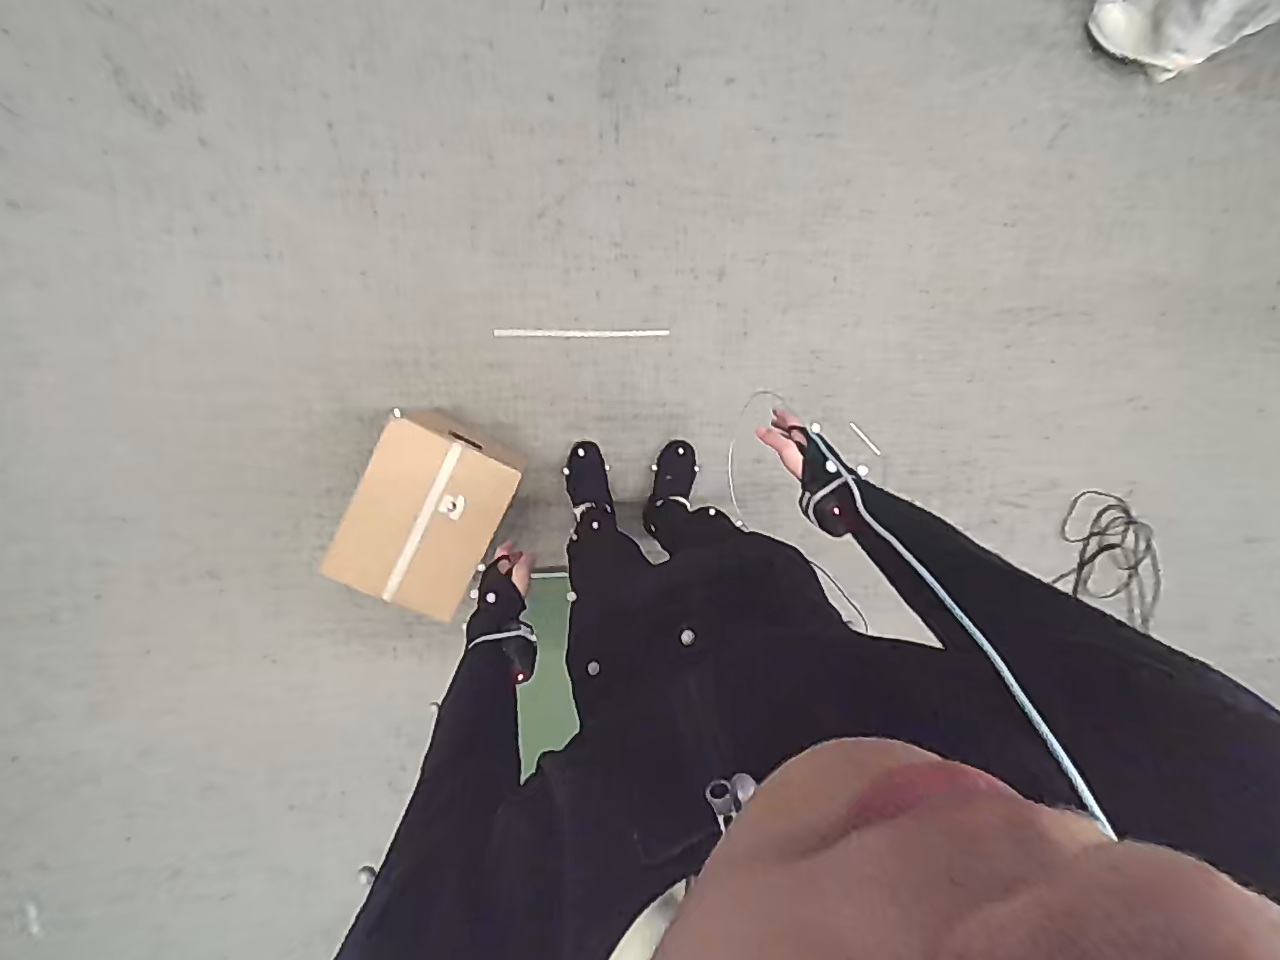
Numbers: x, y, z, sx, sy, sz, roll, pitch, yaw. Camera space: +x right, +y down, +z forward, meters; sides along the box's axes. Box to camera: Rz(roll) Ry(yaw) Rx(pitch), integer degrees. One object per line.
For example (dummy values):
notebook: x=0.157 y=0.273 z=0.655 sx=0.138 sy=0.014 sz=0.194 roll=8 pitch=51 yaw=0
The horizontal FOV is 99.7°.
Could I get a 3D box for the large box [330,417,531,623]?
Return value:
large box: x=-0.508 y=0.084 z=1.386 sx=0.320 sy=0.320 sz=0.408 roll=25 pitch=94 yaw=-11
